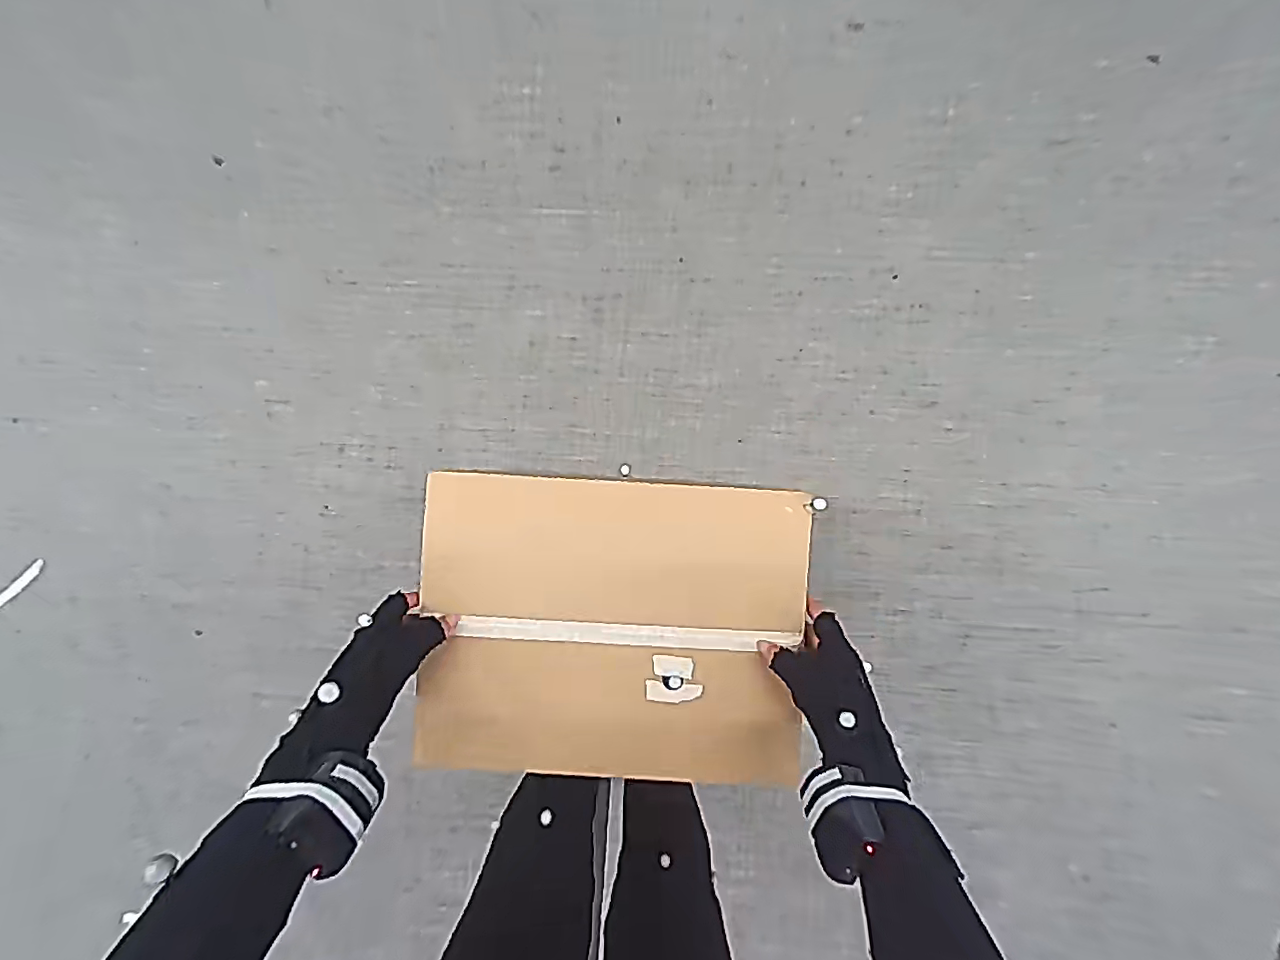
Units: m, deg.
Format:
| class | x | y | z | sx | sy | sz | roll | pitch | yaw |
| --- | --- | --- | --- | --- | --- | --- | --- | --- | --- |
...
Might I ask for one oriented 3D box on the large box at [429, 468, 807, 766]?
| class | x | y | z | sx | sy | sz | roll | pitch | yaw |
| --- | --- | --- | --- | --- | --- | --- | --- | --- | --- |
| large box | -0.027 | 0.148 | 0.731 | 0.408 | 0.320 | 0.320 | 3 | 92 | 0 |
